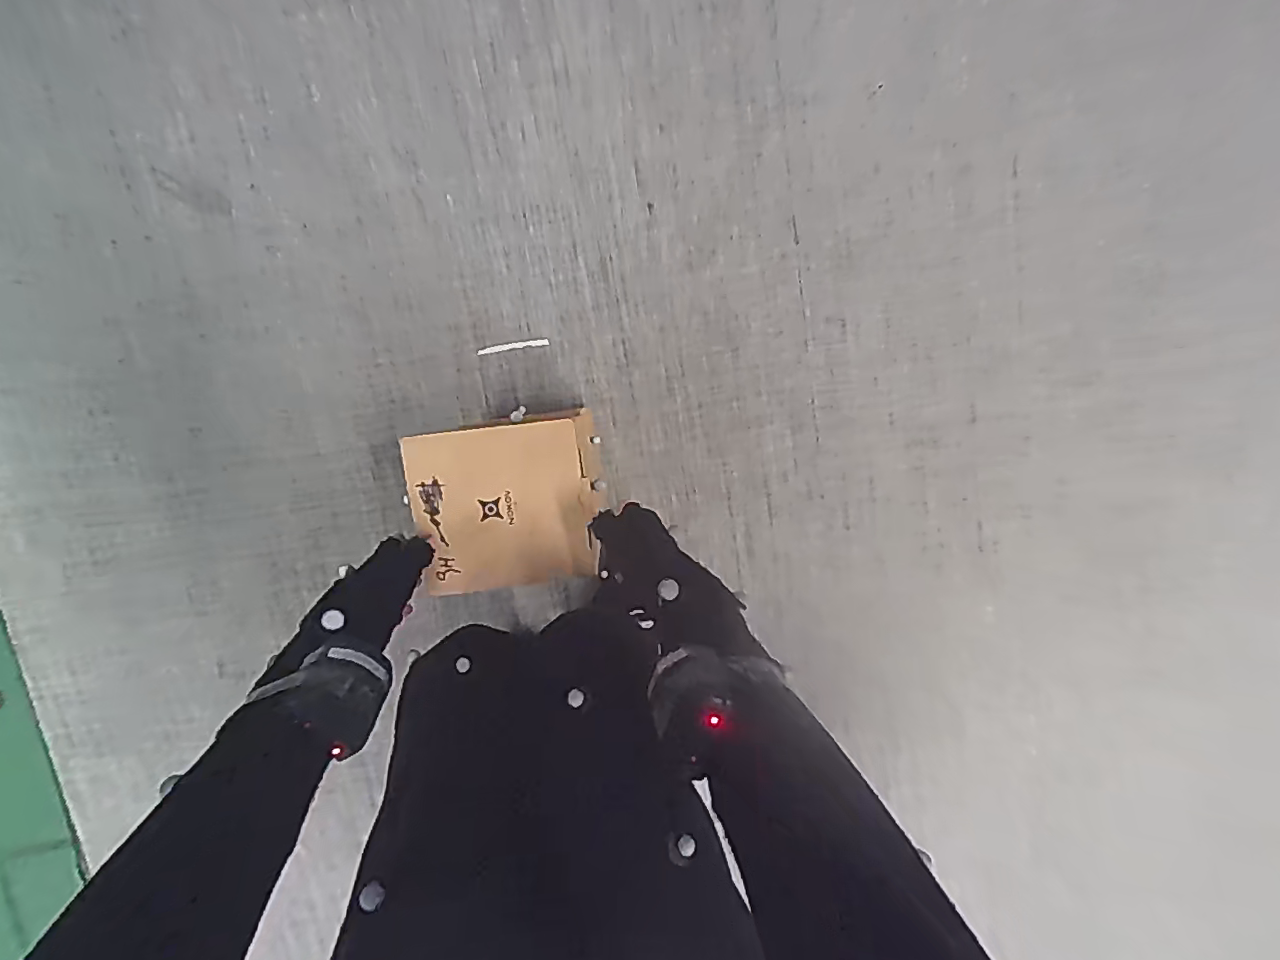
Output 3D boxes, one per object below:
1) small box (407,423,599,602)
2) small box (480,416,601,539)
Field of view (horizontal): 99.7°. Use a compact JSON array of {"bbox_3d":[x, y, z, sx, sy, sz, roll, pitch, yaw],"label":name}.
[{"bbox_3d":[-0.142,0.026,0.625,0.179,0.176,0.168,-6,98,-2],"label":"small box"},{"bbox_3d":[-0.152,0.000,0.787,0.179,0.176,0.168,-8,98,0],"label":"small box"}]
